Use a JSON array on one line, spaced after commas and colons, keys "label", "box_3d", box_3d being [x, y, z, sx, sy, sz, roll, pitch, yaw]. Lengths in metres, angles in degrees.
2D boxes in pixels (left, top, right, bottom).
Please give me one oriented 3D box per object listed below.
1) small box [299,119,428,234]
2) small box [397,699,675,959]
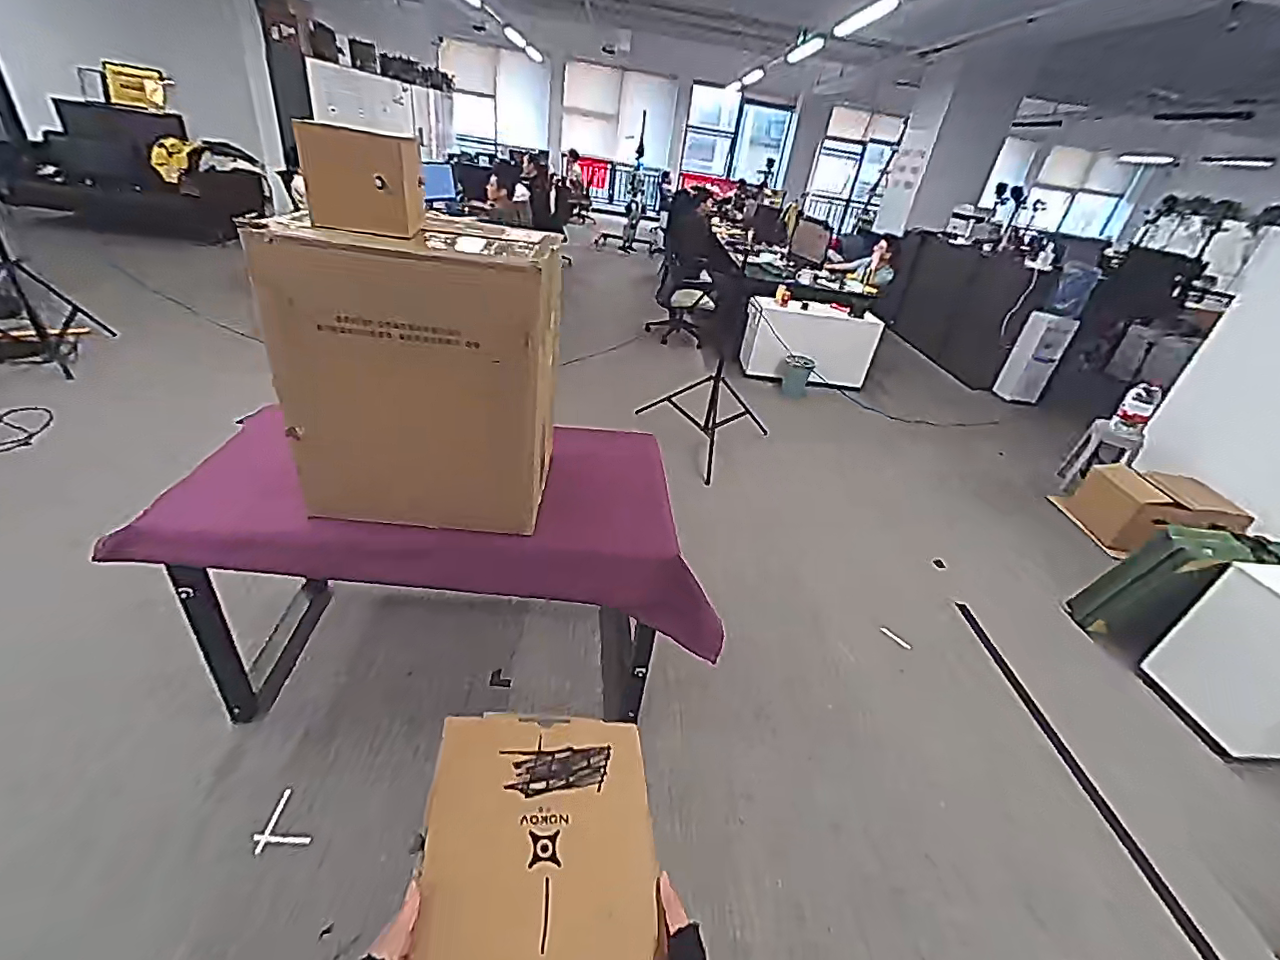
[{"label": "small box", "box_3d": [-0.512, -0.576, 1.033, 0.179, 0.176, 0.168, 2, 31, -11]}, {"label": "small box", "box_3d": [-0.090, 0.301, 0.427, 0.168, 0.176, 0.179, 10, 35, -17]}]
